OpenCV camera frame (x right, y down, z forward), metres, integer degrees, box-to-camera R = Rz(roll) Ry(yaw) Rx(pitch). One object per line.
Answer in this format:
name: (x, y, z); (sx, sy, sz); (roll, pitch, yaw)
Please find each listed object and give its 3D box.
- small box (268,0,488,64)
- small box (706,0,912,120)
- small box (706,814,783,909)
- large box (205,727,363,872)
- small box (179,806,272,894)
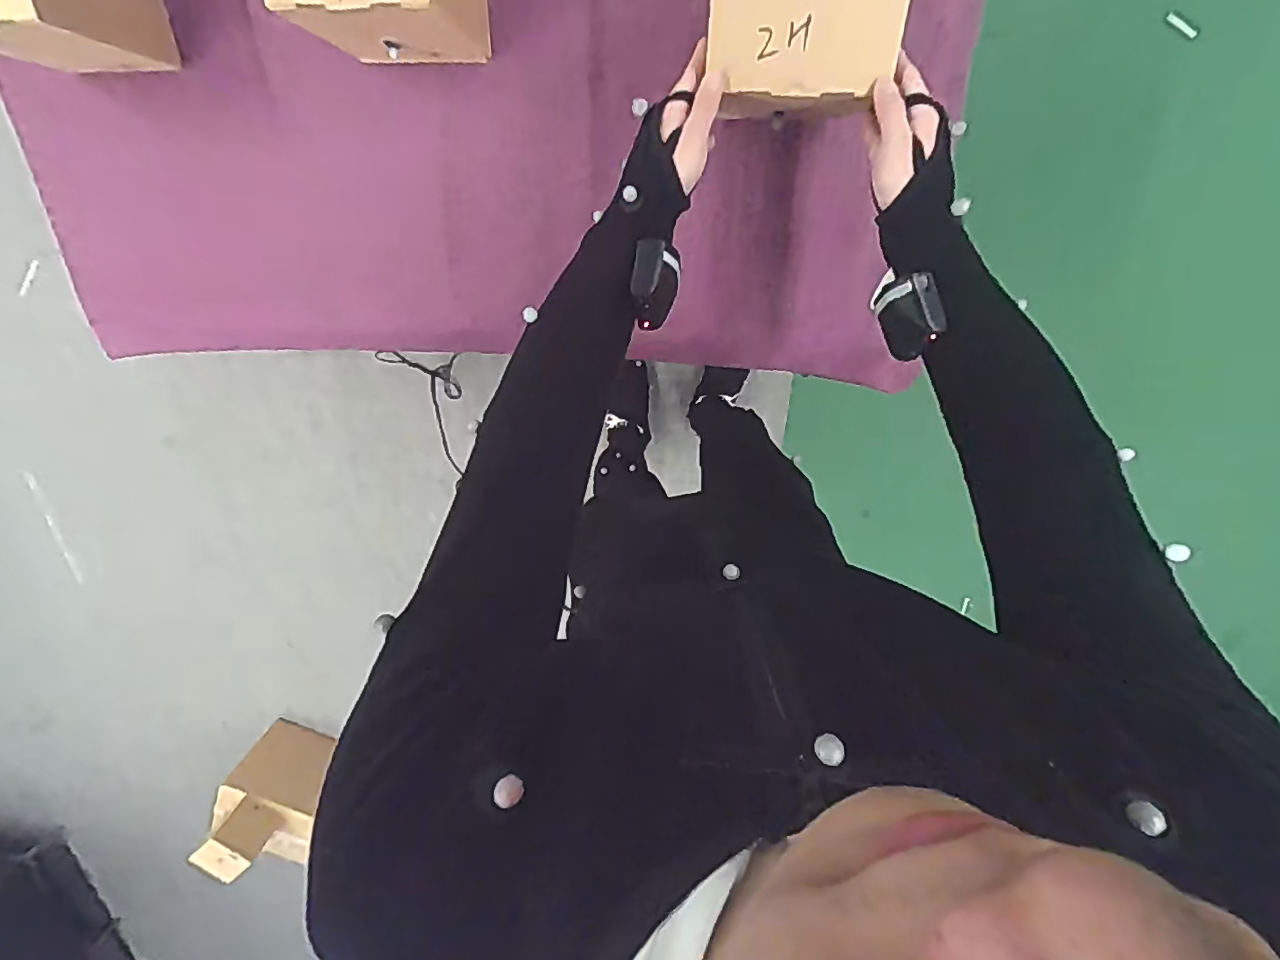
small box: (-0.264, -0.553, 0.545); (0.168, 0.176, 0.179); (3, 115, 3)
small box: (0.152, -0.460, 0.513); (0.168, 0.176, 0.179); (5, 118, 4)
small box: (0.321, 1.192, 1.703); (0.179, 0.176, 0.168); (40, 112, -12)
large box: (-1.408, 1.266, 2.158); (0.408, 0.320, 0.320); (25, 114, -7)
small box: (-1.454, 1.301, 1.908); (0.179, 0.176, 0.168); (-42, 104, 18)
